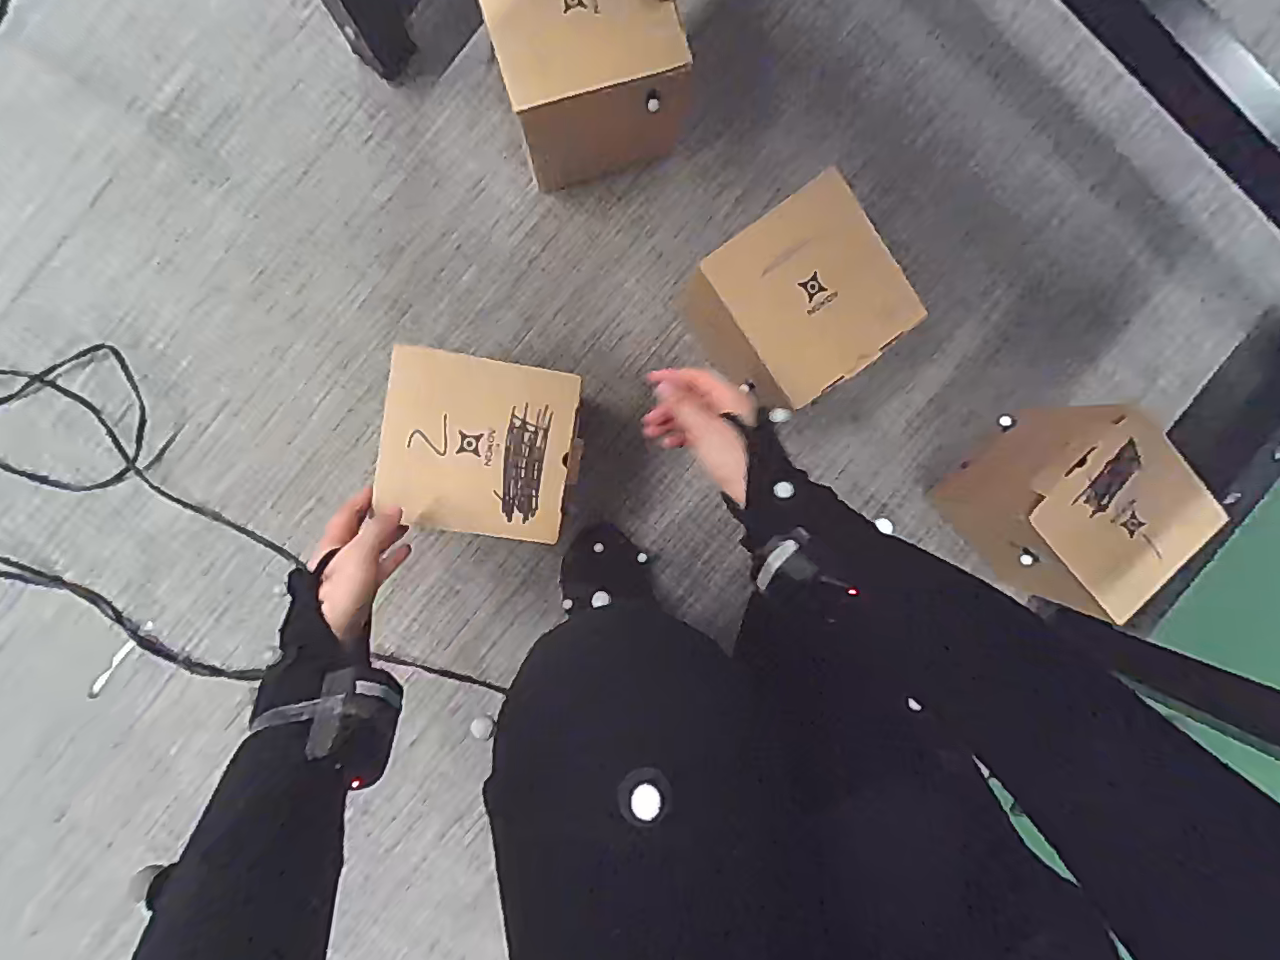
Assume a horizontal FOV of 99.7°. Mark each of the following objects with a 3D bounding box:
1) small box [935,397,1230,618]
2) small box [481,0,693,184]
[{"bbox_3d":[0.499,0.026,0.639,0.168,0.176,0.179,-43,95,1],"label":"small box"},{"bbox_3d":[-0.059,-0.446,0.570,0.179,0.176,0.168,-18,95,-3],"label":"small box"}]
